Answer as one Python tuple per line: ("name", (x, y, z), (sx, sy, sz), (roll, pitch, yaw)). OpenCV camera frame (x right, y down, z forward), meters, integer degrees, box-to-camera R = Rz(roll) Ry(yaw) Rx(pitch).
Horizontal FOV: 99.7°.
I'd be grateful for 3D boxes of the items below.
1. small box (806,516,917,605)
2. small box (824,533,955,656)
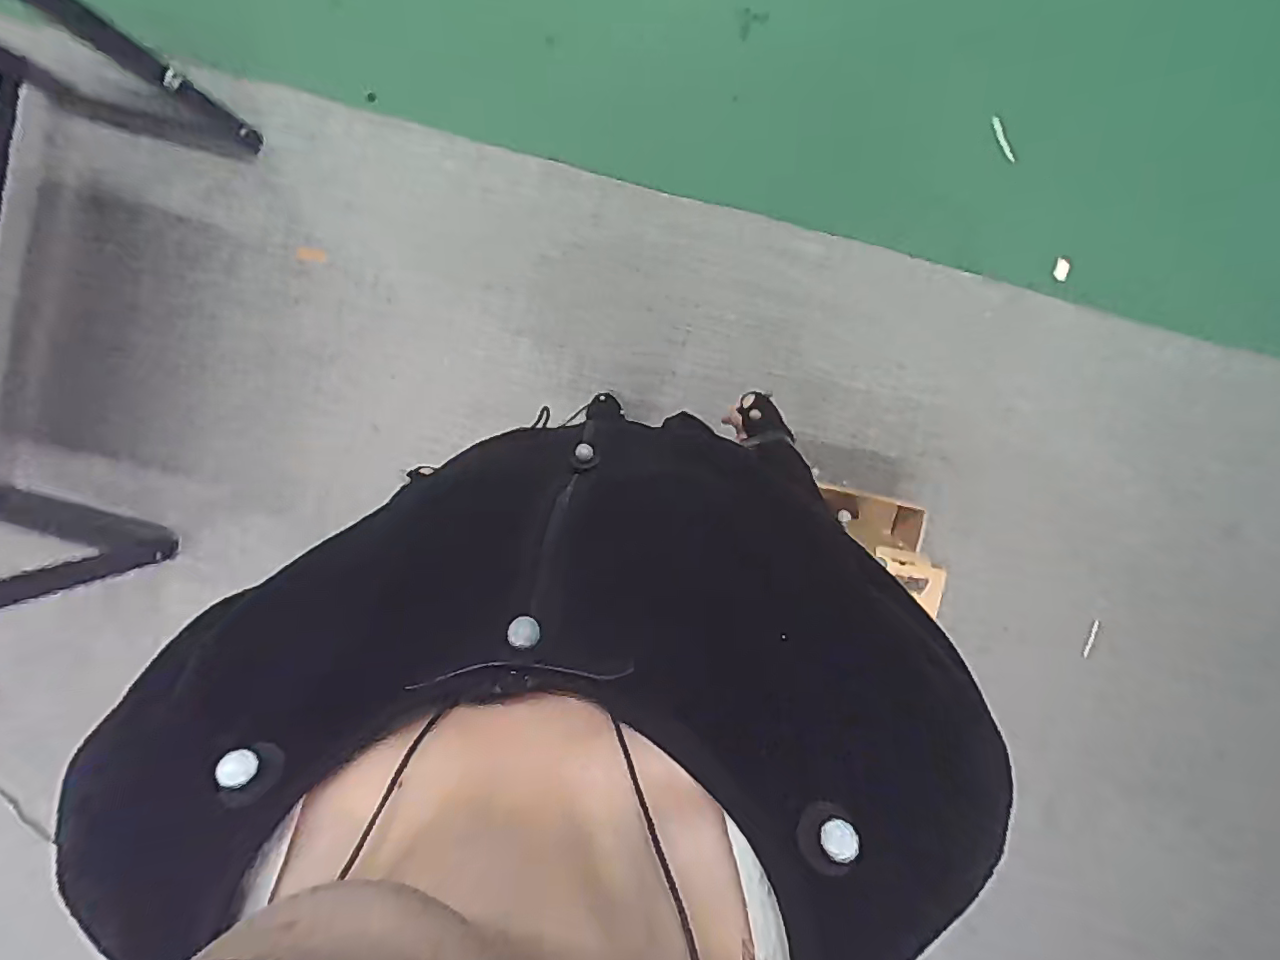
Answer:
("small box", (0.490, 0.190, 1.225), (0.168, 0.176, 0.179), (12, 98, 2))
("small box", (0.477, 0.215, 1.064), (0.168, 0.176, 0.179), (12, 98, 3))
